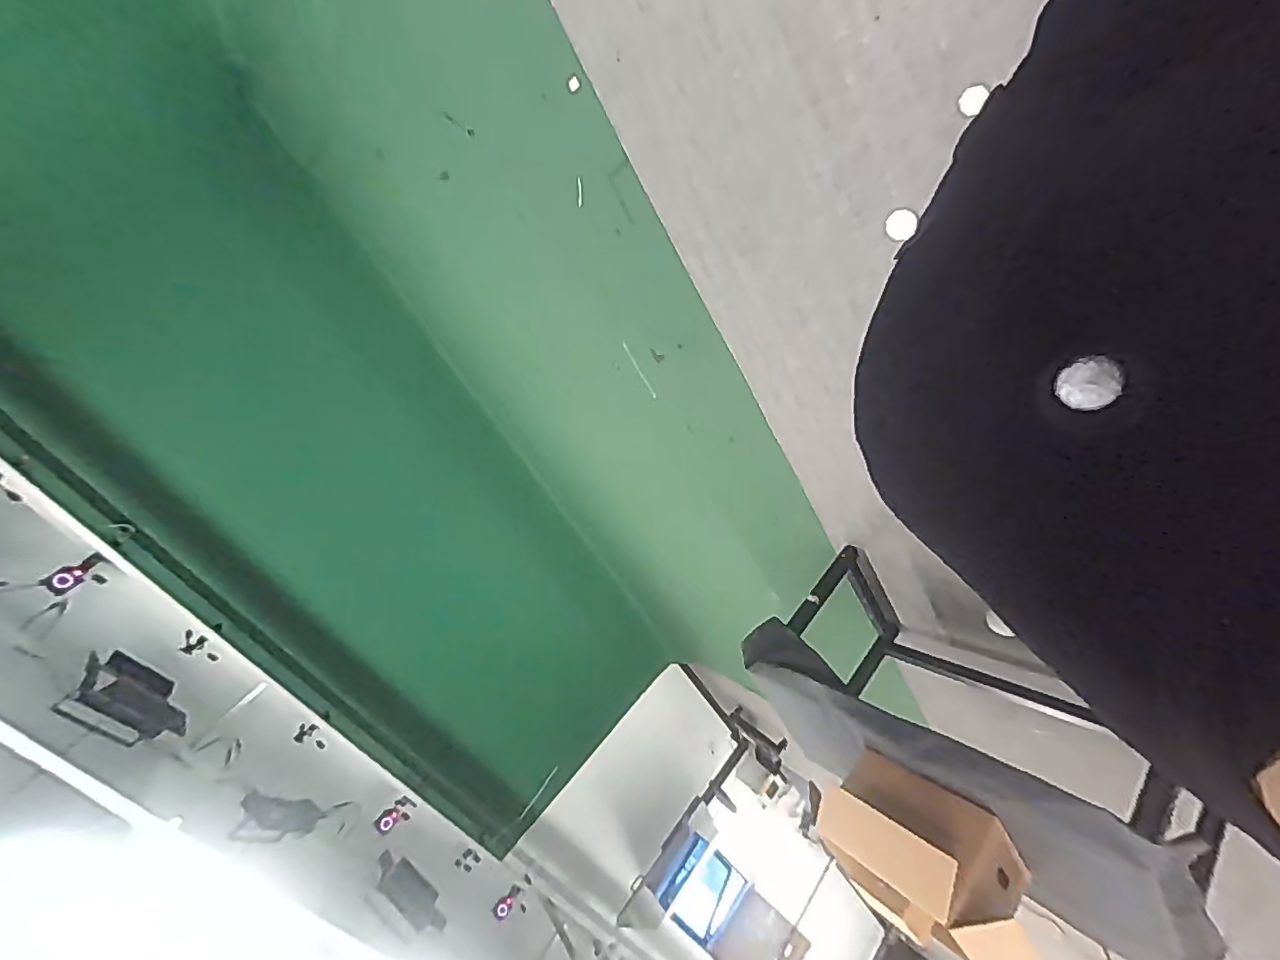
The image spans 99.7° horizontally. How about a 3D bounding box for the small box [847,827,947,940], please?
[{"bbox_3d":[0.741,1.146,1.556,0.168,0.176,0.179,55,156,-22],"label":"small box"}]
